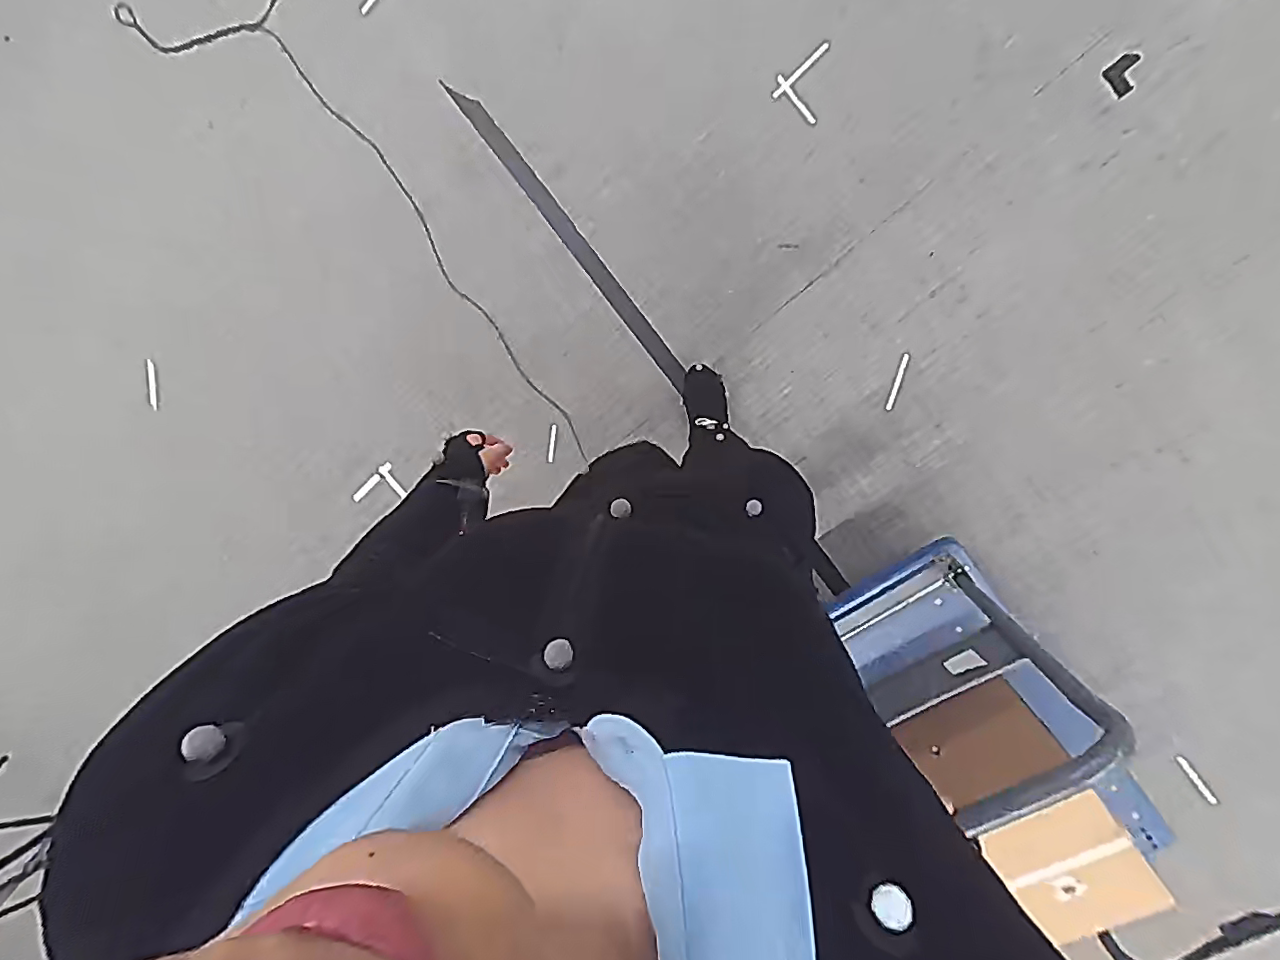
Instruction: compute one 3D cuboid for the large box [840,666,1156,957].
[{"bbox_3d":[0.709,0.681,1.155,0.408,0.320,0.320,-36,93,14],"label":"large box"}]
